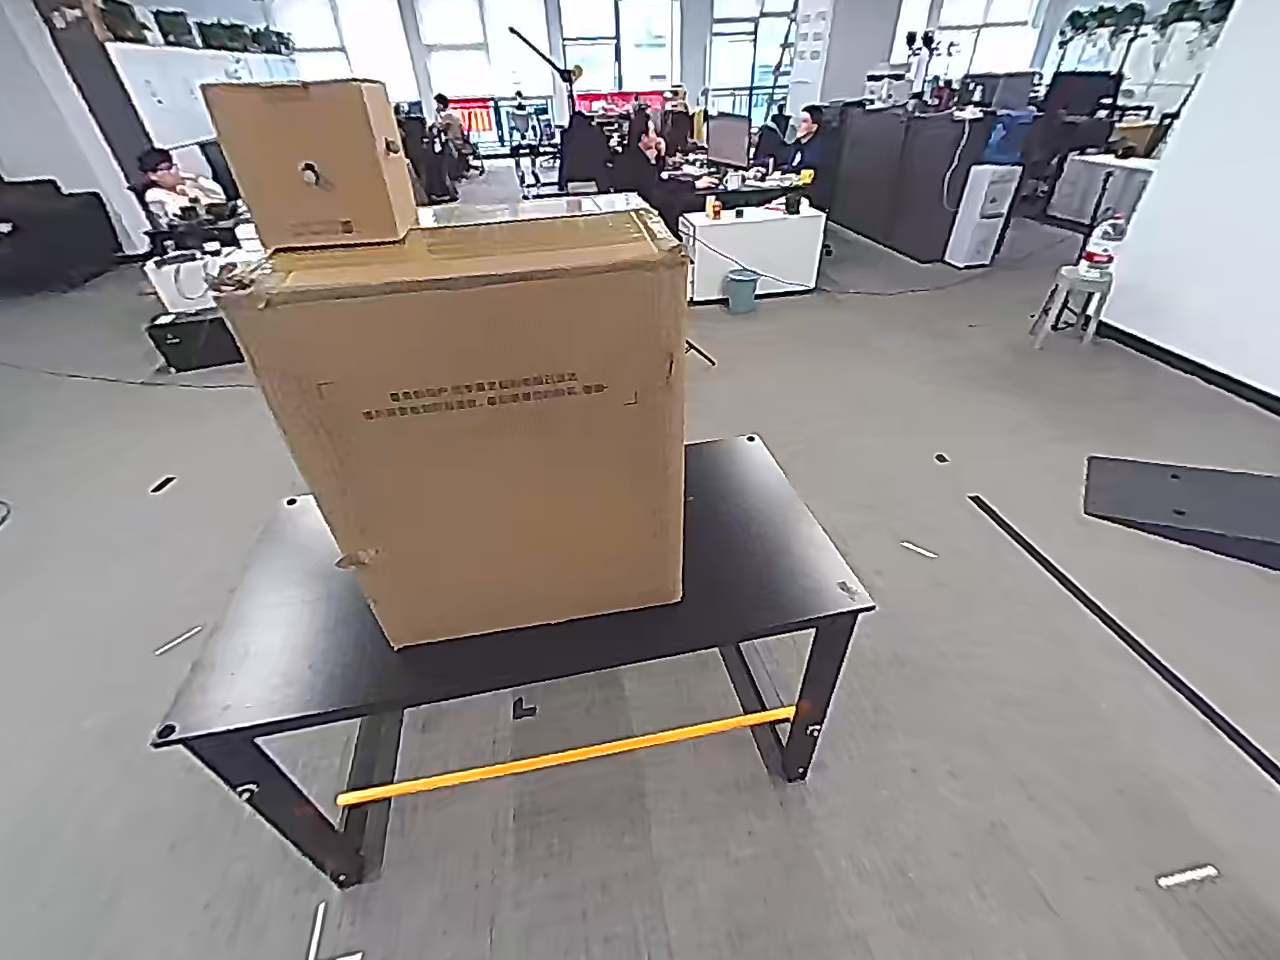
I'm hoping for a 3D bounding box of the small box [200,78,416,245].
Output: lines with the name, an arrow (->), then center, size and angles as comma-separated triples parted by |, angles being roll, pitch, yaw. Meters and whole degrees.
small box -> -0.399, -0.406, 0.693 | 0.168, 0.176, 0.179 | -8, 37, -9
